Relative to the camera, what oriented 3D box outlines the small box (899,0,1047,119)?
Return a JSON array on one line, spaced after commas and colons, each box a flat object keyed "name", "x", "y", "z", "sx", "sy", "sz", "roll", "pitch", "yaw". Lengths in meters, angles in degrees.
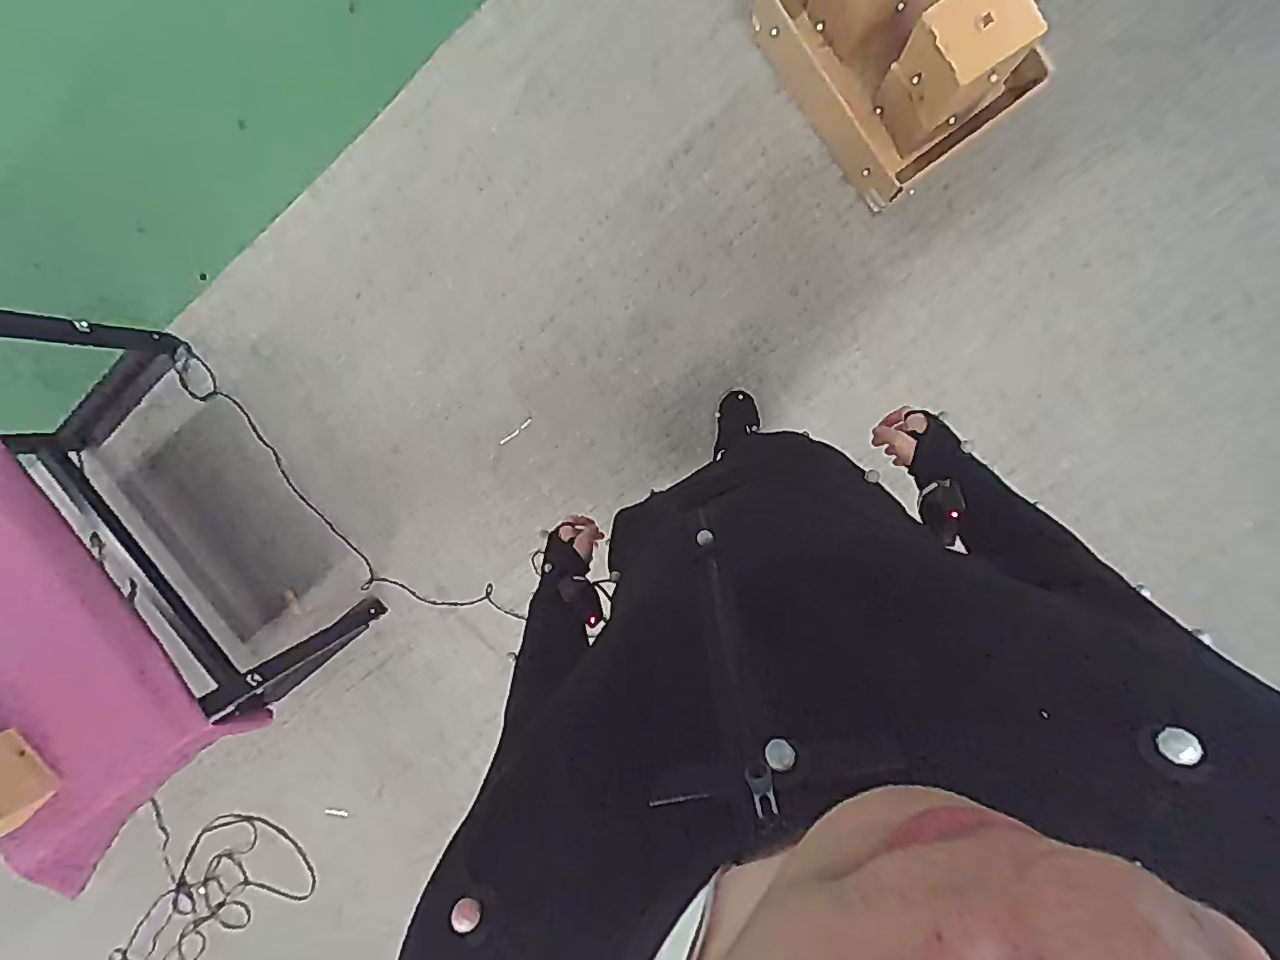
[{"name": "small box", "x": 0.679, "y": -0.909, "z": 1.123, "sx": 0.179, "sy": 0.176, "sz": 0.168, "roll": -31, "pitch": 93, "yaw": 12}]
